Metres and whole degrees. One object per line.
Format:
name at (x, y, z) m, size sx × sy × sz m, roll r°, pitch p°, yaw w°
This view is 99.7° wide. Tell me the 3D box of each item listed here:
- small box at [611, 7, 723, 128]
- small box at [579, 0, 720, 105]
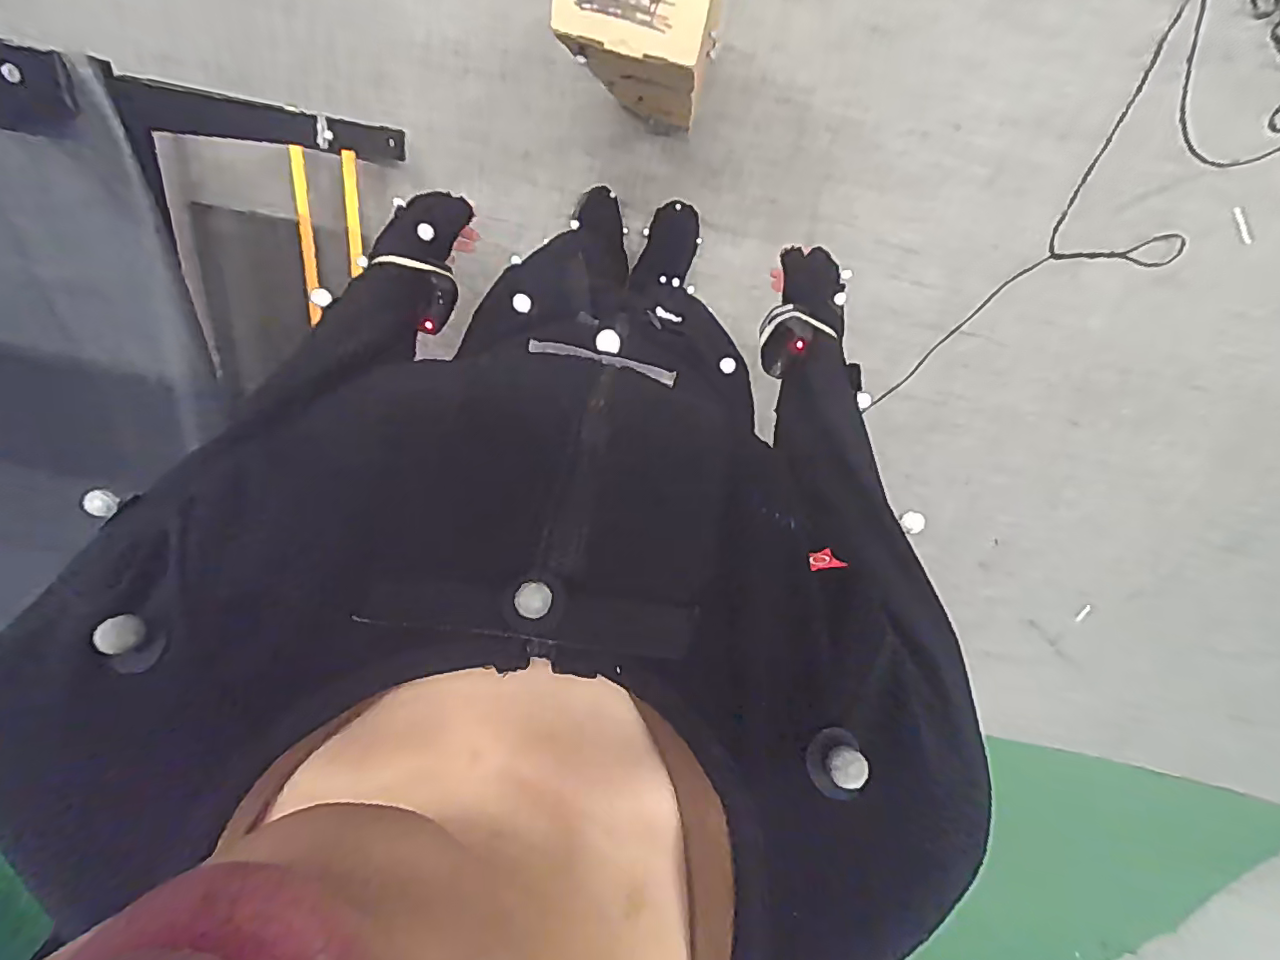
small box at (0.051, -0.817, 1.055) m, size 0.168 × 0.176 × 0.179 m, roll 17°, pitch 119°, yaw -3°
small box at (0.021, -0.662, 0.769) m, size 0.168 × 0.176 × 0.179 m, roll 14°, pitch 119°, yaw -3°
